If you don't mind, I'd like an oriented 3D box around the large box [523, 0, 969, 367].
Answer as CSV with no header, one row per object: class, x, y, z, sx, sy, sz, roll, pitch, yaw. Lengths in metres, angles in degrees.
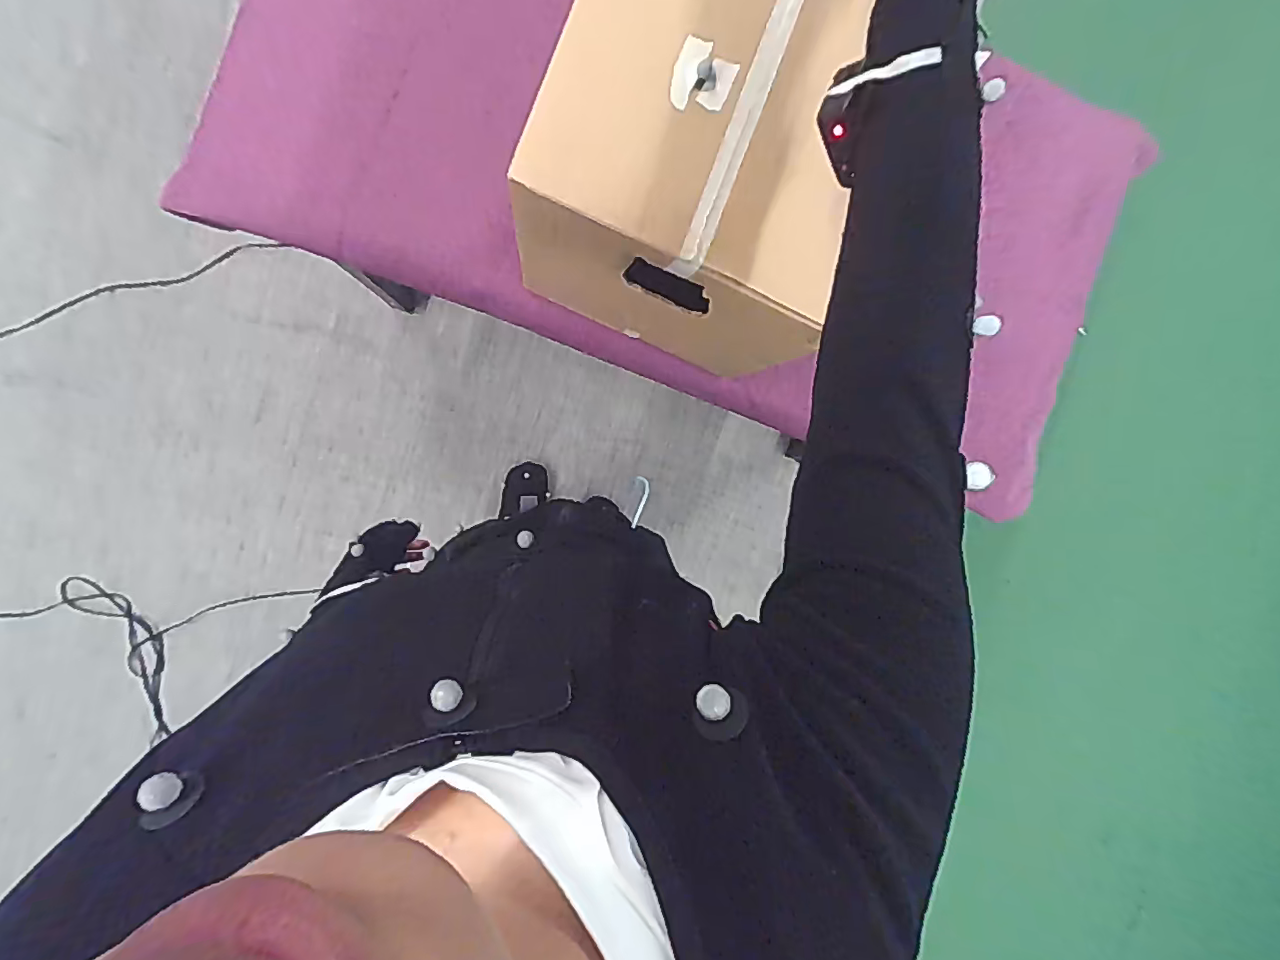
large box,0.086,-0.385,0.607,0.320,0.320,0.408,22,91,-11
